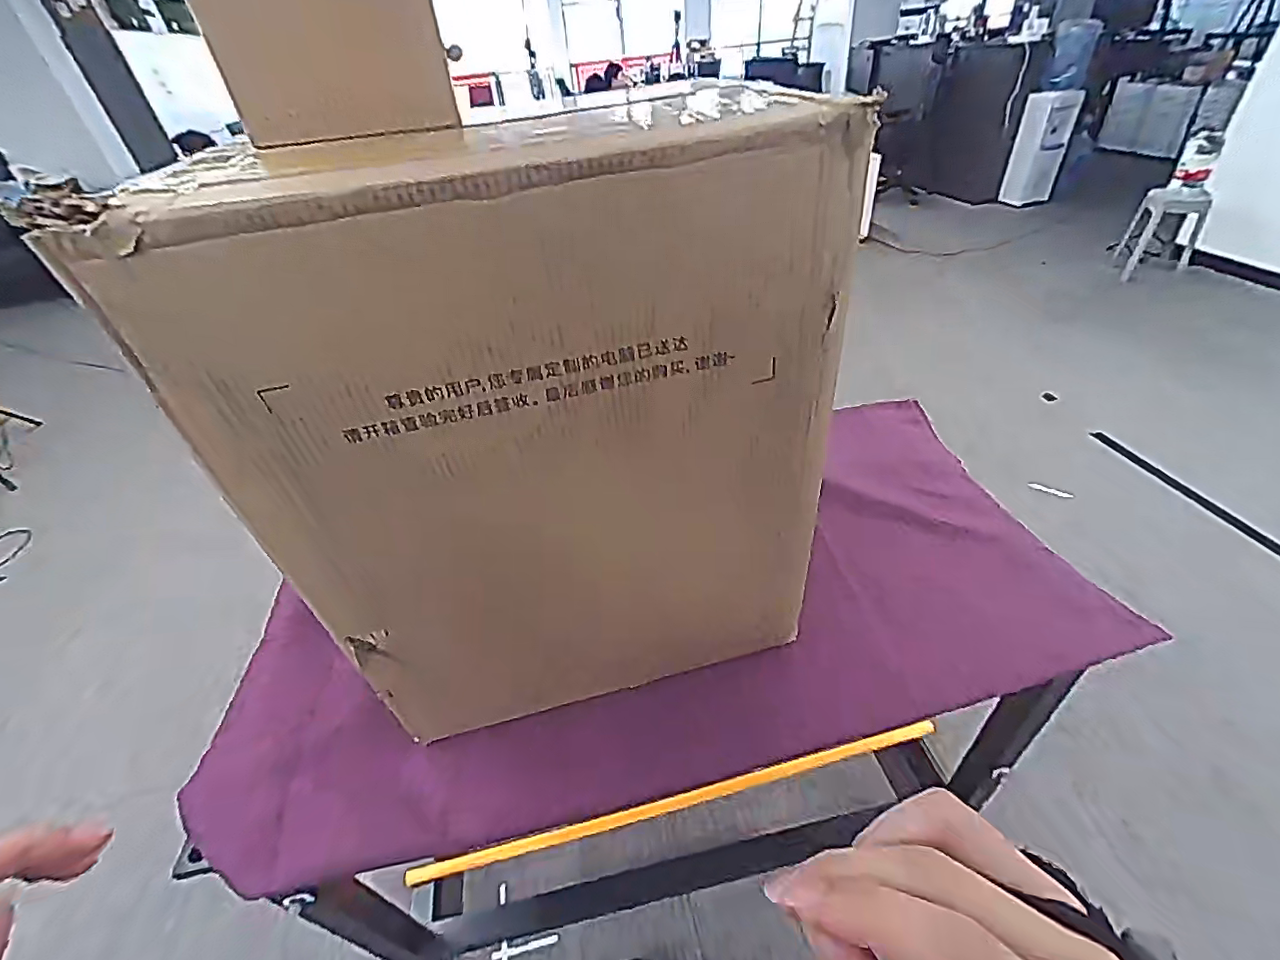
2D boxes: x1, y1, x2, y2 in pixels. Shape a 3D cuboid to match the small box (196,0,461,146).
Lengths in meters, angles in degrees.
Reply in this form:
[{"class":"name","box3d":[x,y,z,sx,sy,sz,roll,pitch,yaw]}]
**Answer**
[{"class":"small box","box3d":[-0.270,-0.407,0.478,0.179,0.176,0.168,-13,40,-10]}]
